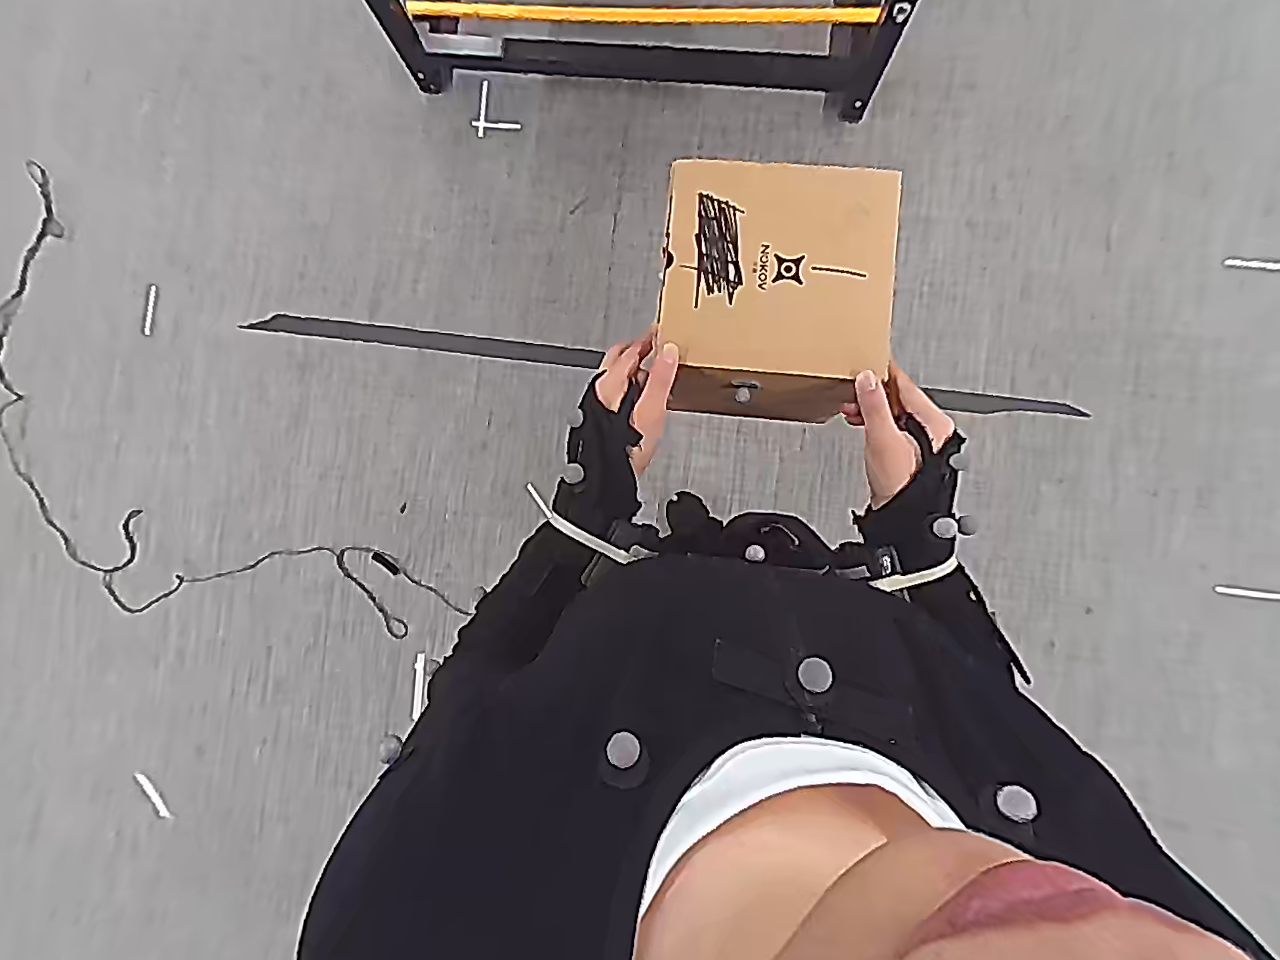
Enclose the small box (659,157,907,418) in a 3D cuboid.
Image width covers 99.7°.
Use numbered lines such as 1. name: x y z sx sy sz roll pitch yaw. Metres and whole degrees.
1. small box: 0.114 -0.156 0.489 0.179 0.176 0.168 5 86 4
